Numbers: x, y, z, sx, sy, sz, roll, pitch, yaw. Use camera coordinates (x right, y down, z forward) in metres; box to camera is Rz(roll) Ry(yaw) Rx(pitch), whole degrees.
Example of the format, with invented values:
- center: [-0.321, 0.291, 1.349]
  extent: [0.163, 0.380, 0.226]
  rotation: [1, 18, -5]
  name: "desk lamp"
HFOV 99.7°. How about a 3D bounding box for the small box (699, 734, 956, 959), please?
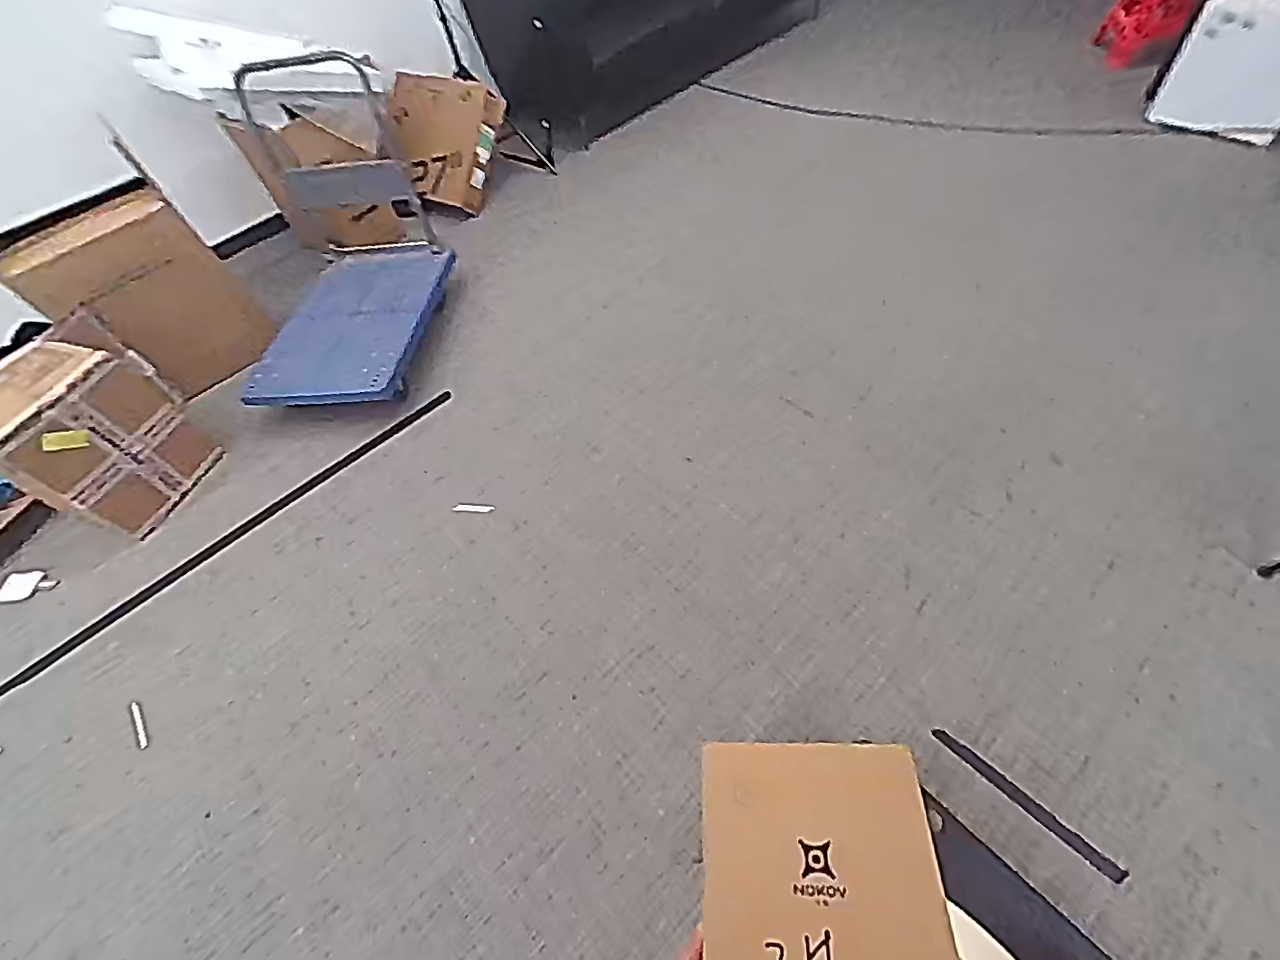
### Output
- center: [0.141, 0.326, 0.443]
  extent: [0.168, 0.176, 0.179]
  rotation: [-5, 50, 13]
  name: "small box"
